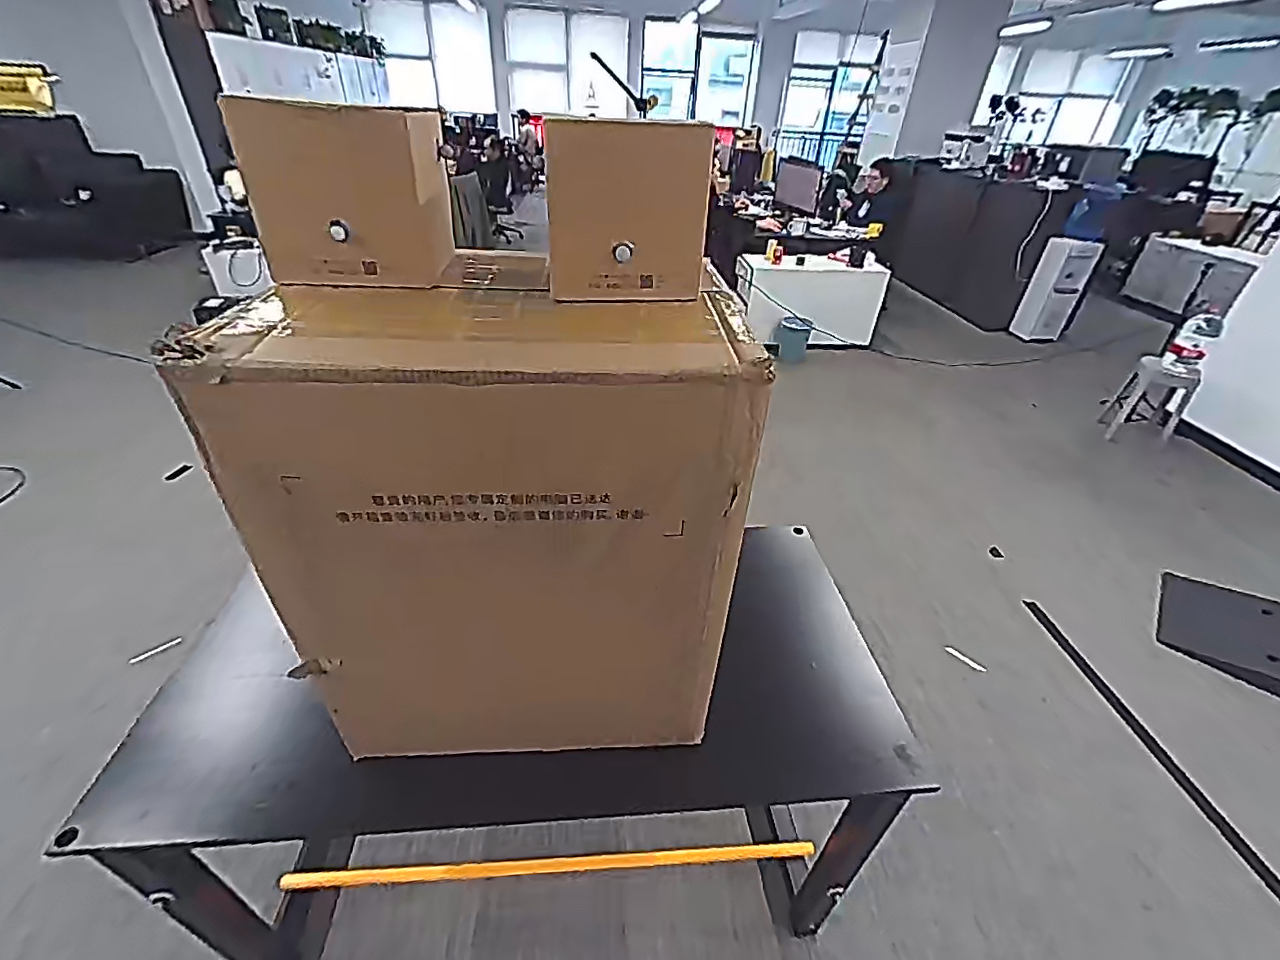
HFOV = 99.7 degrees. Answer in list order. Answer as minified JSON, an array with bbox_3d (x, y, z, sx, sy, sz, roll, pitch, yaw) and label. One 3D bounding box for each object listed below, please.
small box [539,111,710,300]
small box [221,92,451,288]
[{"bbox_3d":[-0.026,-0.314,0.619,0.168,0.176,0.179,-3,35,-7],"label":"small box"},{"bbox_3d":[-0.320,-0.328,0.616,0.168,0.176,0.179,-1,34,-8],"label":"small box"}]
